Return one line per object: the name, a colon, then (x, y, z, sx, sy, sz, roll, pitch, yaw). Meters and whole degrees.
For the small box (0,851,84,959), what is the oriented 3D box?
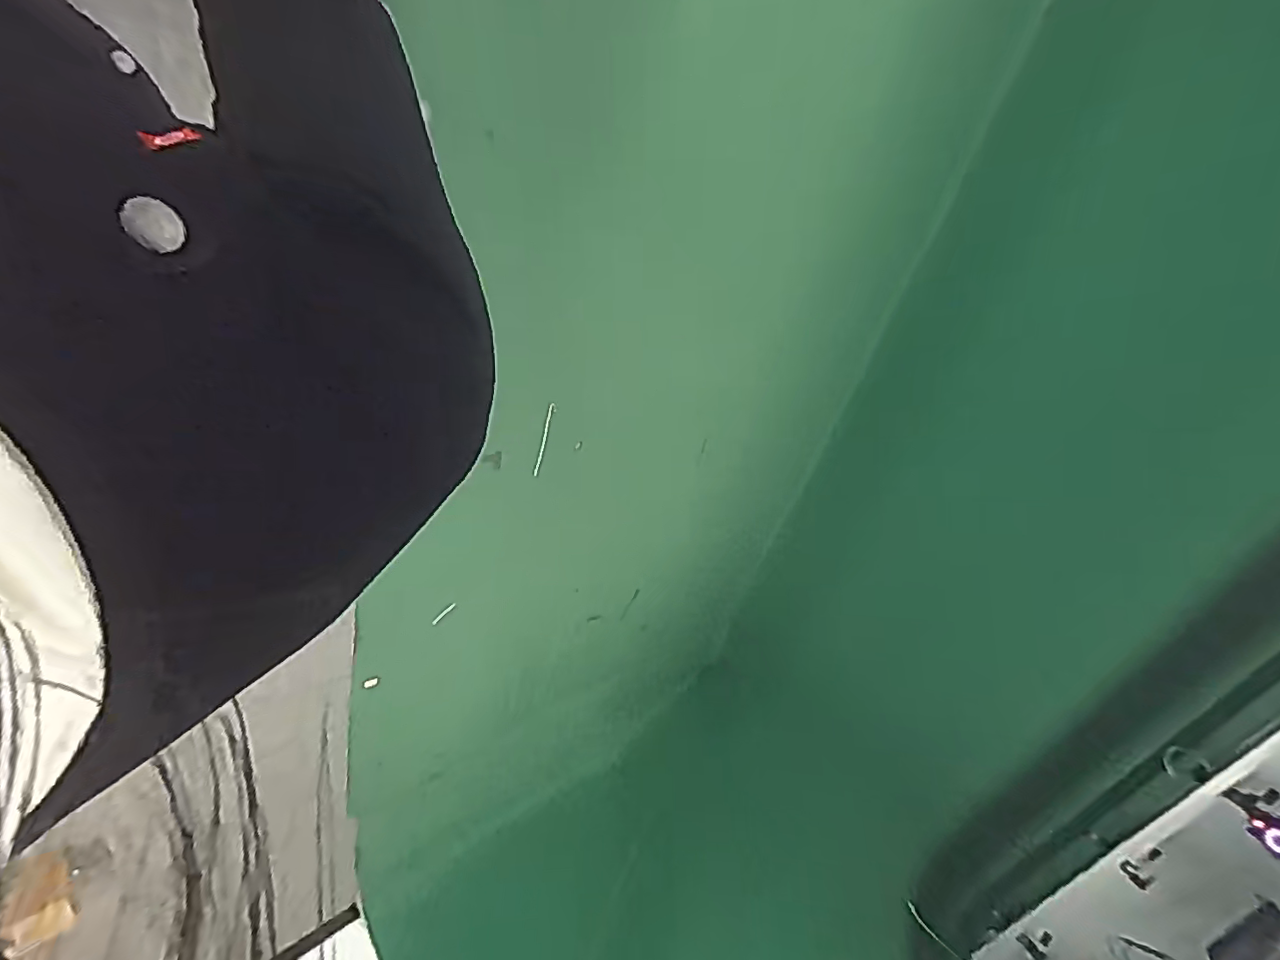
small box: (-1.741, 1.226, 1.549, 0.179, 0.176, 0.168, -15, 133, -45)
